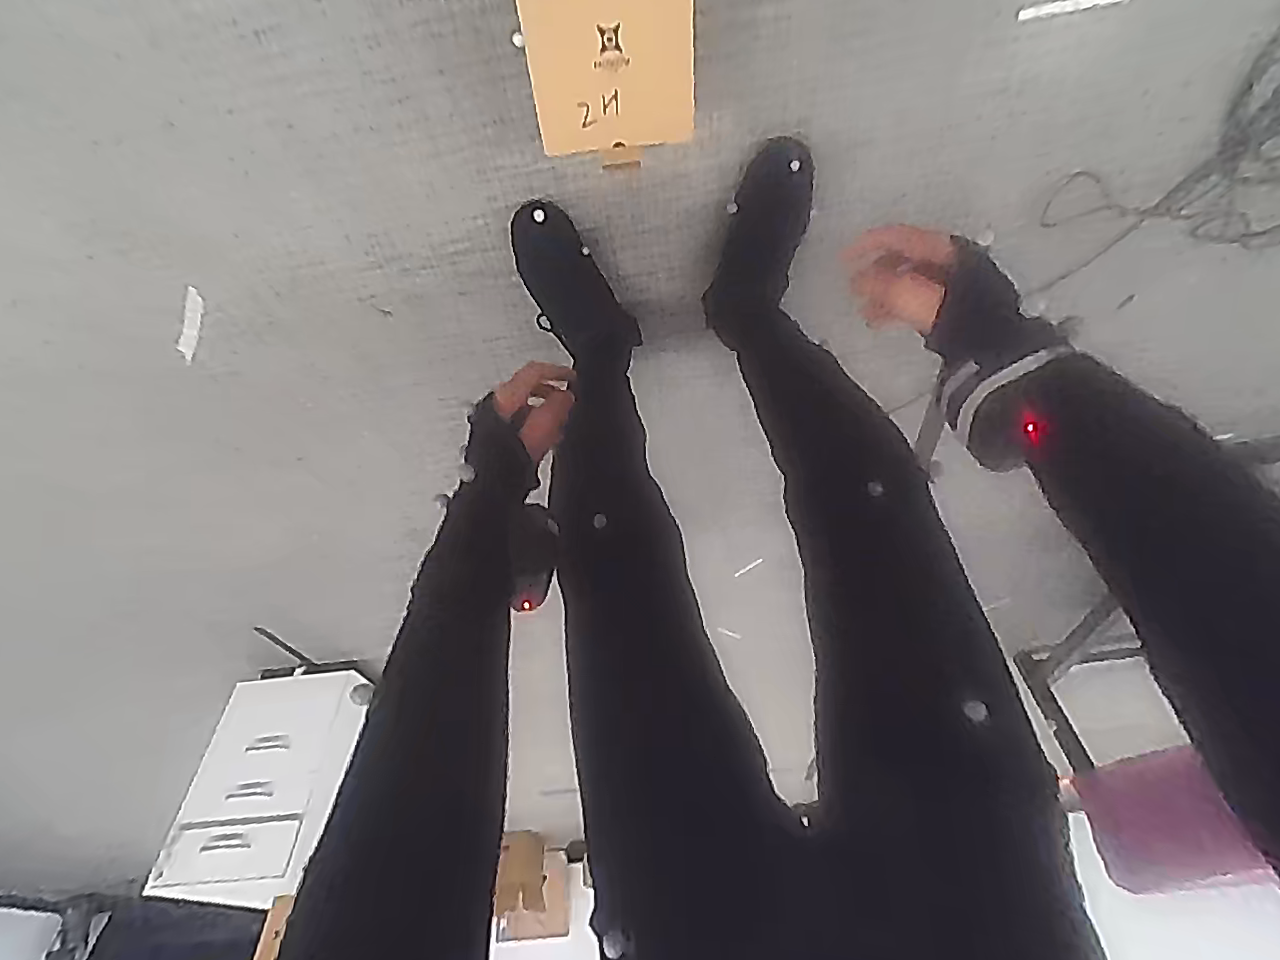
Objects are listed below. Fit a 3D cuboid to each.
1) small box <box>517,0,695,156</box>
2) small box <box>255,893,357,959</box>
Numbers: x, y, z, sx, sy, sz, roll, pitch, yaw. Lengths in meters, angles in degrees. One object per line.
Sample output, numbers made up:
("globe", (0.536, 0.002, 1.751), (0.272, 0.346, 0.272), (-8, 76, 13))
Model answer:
("small box", (-0.034, -0.475, 0.575), (0.168, 0.176, 0.179), (-5, 138, 1))
("small box", (-0.967, 1.323, 1.578), (0.179, 0.176, 0.168), (-6, 138, 3))
